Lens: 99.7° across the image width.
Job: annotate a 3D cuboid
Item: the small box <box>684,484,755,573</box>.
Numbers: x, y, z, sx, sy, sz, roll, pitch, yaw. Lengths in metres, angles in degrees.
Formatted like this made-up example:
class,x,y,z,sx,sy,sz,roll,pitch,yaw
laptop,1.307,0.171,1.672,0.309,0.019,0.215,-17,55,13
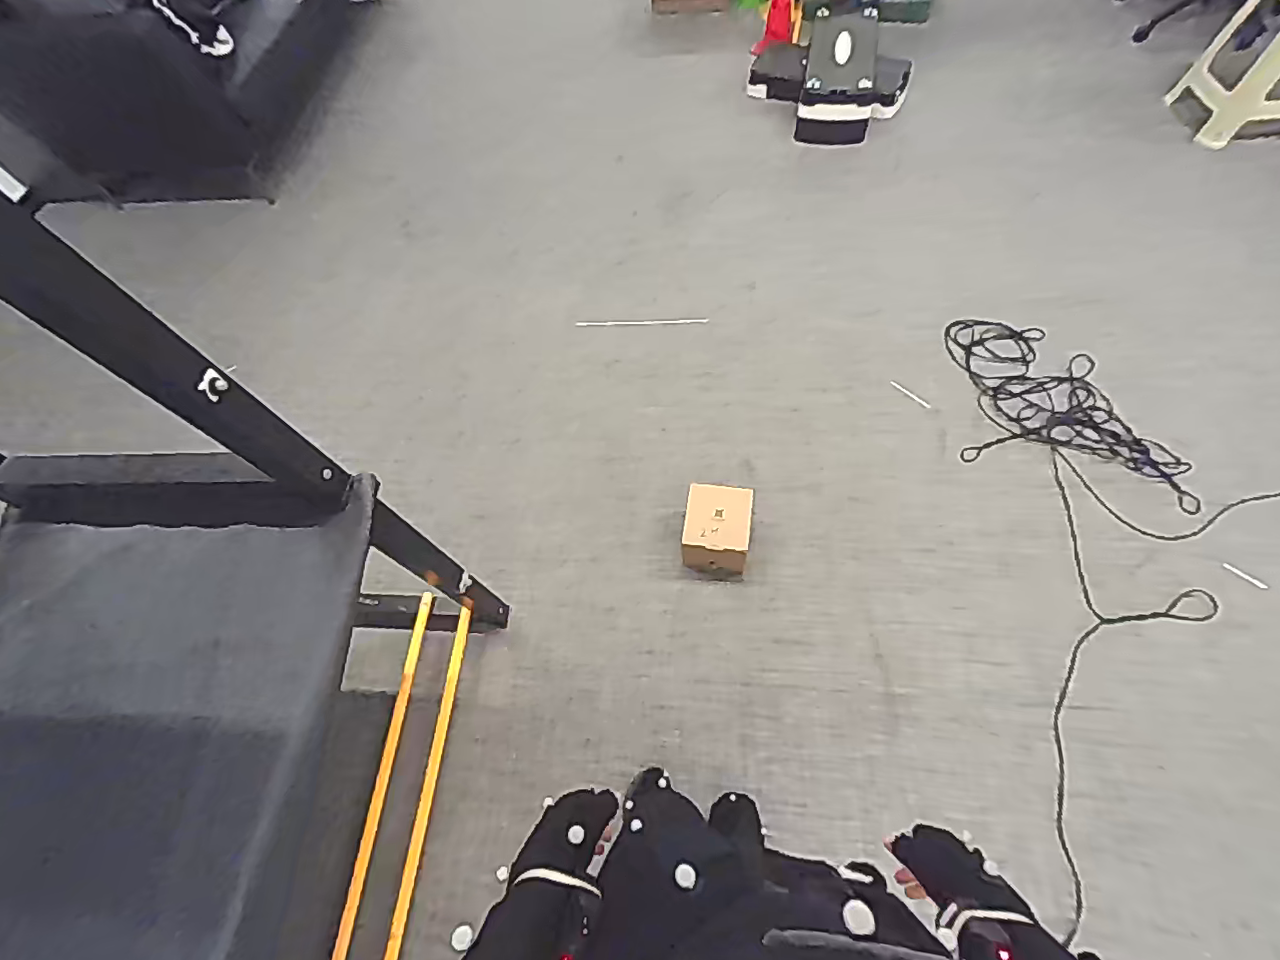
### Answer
class,x,y,z,sx,sy,sz,roll,pitch,yaw
small box,0.211,0.133,1.445,0.168,0.176,0.179,6,64,11
